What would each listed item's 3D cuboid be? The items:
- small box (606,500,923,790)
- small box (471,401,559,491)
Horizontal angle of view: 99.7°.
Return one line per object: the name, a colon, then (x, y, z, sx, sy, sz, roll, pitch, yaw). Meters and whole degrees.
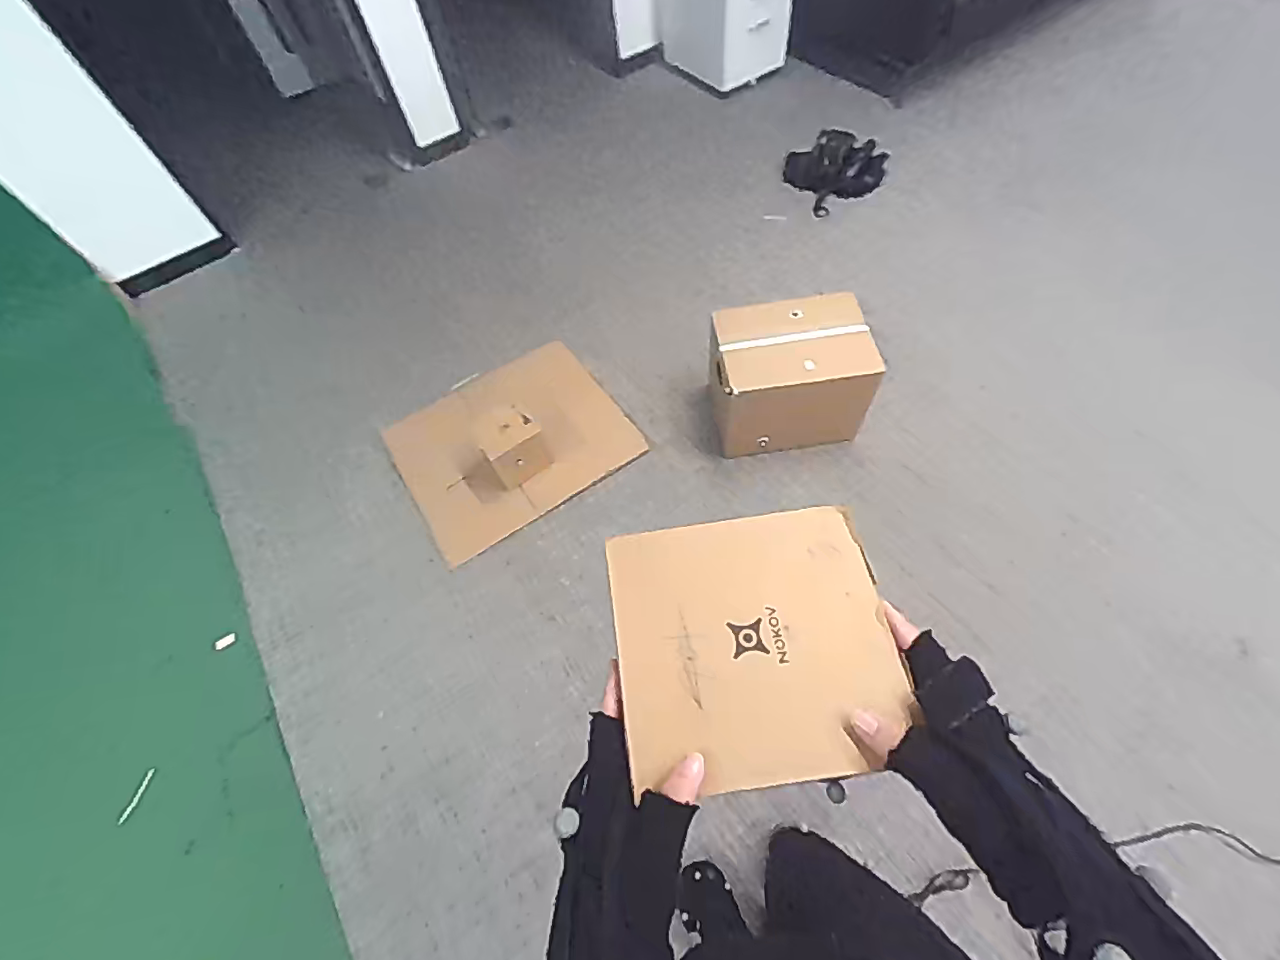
small box: (0.076, 0.136, 0.422, 0.179, 0.176, 0.168, -10, 59, 0)
small box: (-0.373, -0.098, 1.643, 0.179, 0.176, 0.168, -37, 60, -14)
